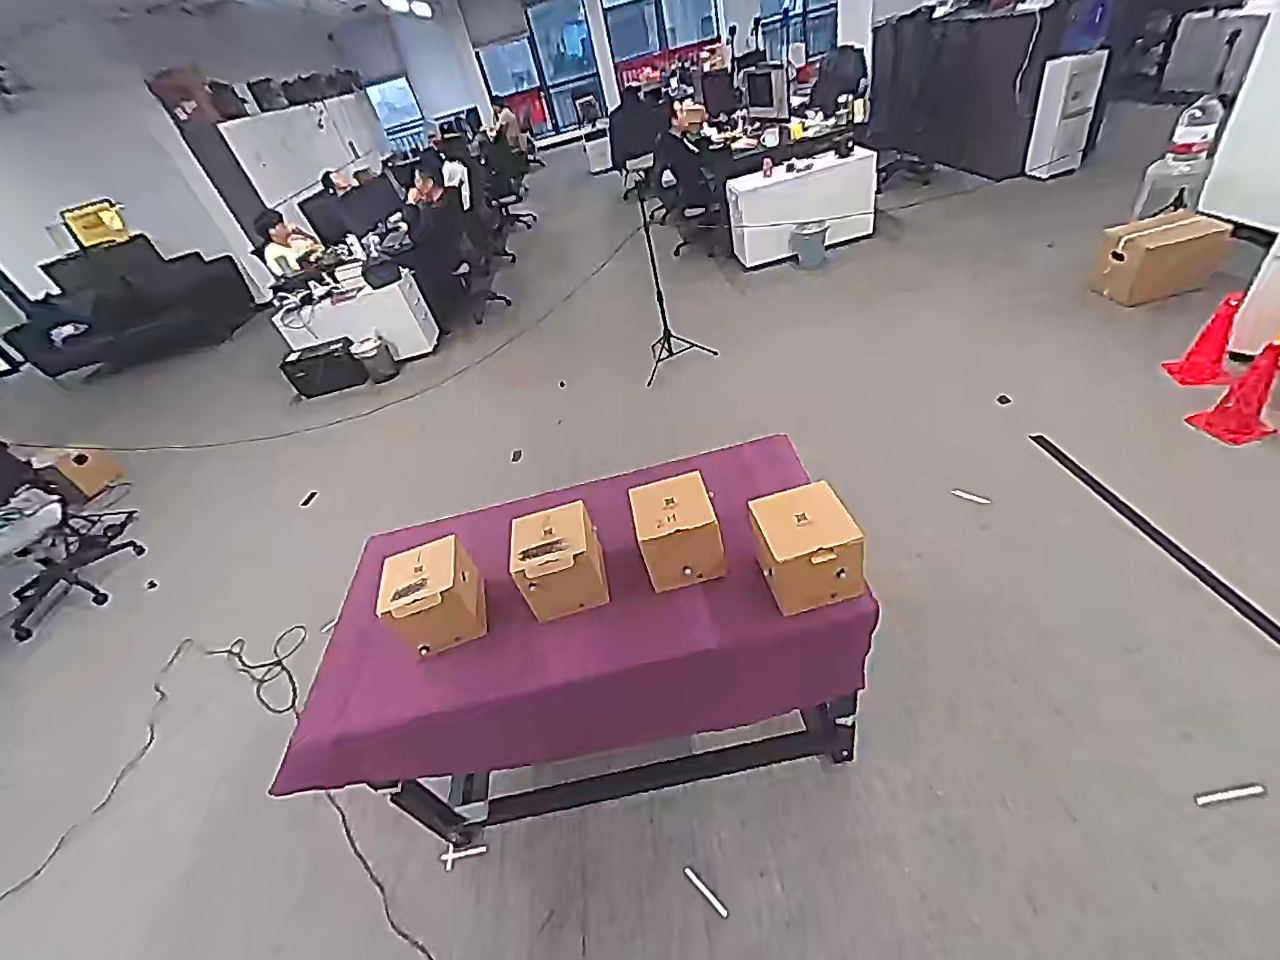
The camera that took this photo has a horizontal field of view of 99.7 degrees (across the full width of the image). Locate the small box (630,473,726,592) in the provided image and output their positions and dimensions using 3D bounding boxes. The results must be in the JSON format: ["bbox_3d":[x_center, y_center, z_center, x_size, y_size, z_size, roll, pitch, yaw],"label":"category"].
[{"bbox_3d":[0.084,0.115,1.188,0.168,0.176,0.179,-15,39,2],"label":"small box"}]

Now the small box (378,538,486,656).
[{"bbox_3d":[-0.454,0.266,1.202,0.168,0.176,0.179,-20,38,-5],"label":"small box"}]

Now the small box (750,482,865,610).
[{"bbox_3d":[0.330,0.137,1.074,0.168,0.176,0.179,-16,38,1],"label":"small box"}]
